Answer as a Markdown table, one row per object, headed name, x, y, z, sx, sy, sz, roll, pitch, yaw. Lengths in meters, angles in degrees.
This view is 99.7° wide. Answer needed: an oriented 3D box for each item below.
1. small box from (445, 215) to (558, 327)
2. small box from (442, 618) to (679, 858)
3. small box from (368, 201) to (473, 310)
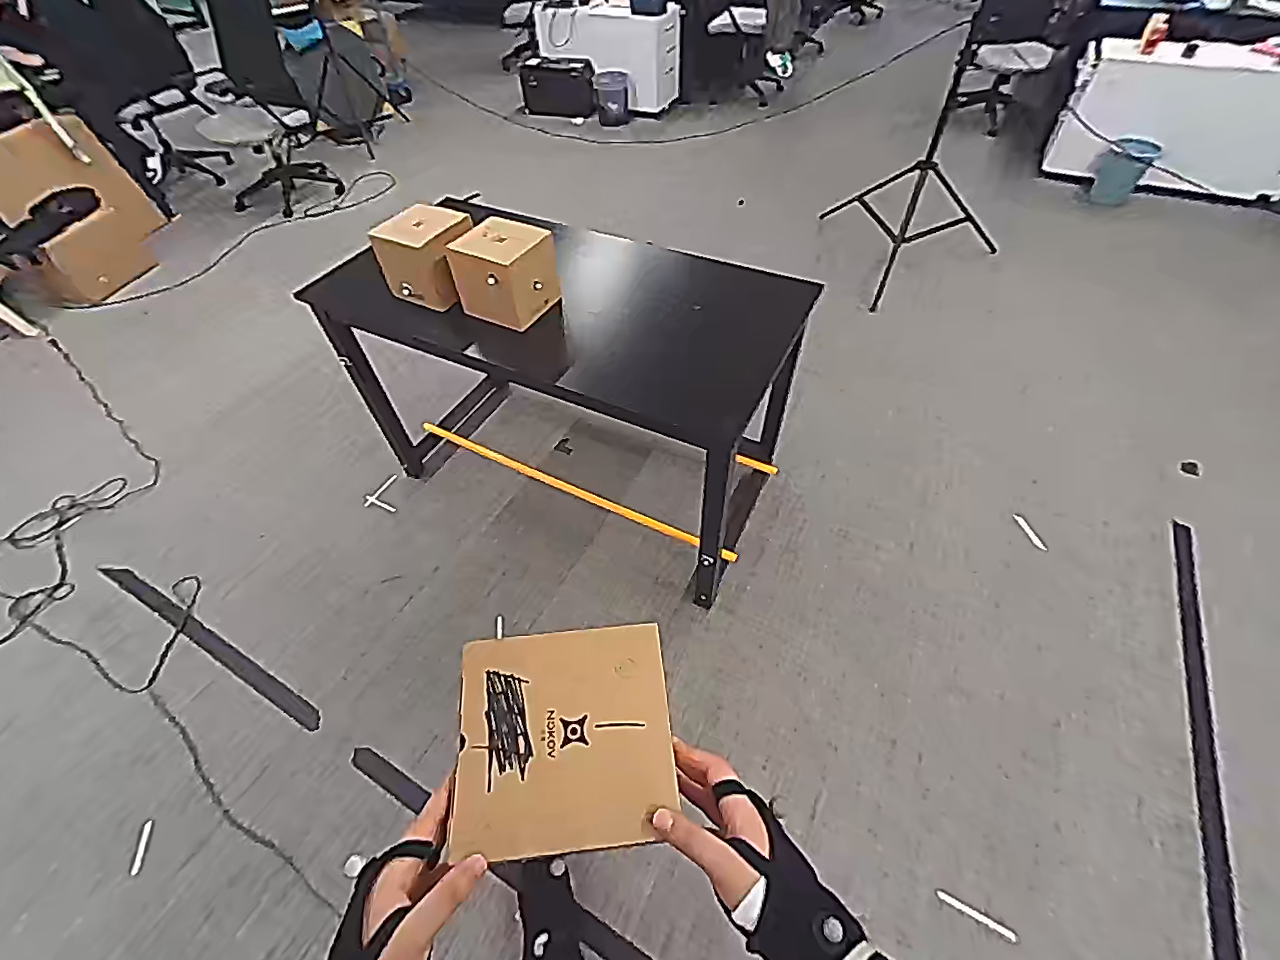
| name | x | y | z | sx | sy | sz | roll | pitch | yaw |
| --- | --- | --- | --- | --- | --- | --- | --- | --- | --- |
| small box | -0.308 | -0.479 | 1.249 | 0.179 | 0.176 | 0.168 | 22 | 55 | 19 |
| small box | -0.063 | 0.243 | 0.501 | 0.179 | 0.176 | 0.168 | -5 | 56 | -4 |
| small box | -0.509 | -0.544 | 1.313 | 0.168 | 0.176 | 0.179 | 20 | 55 | 19 |
